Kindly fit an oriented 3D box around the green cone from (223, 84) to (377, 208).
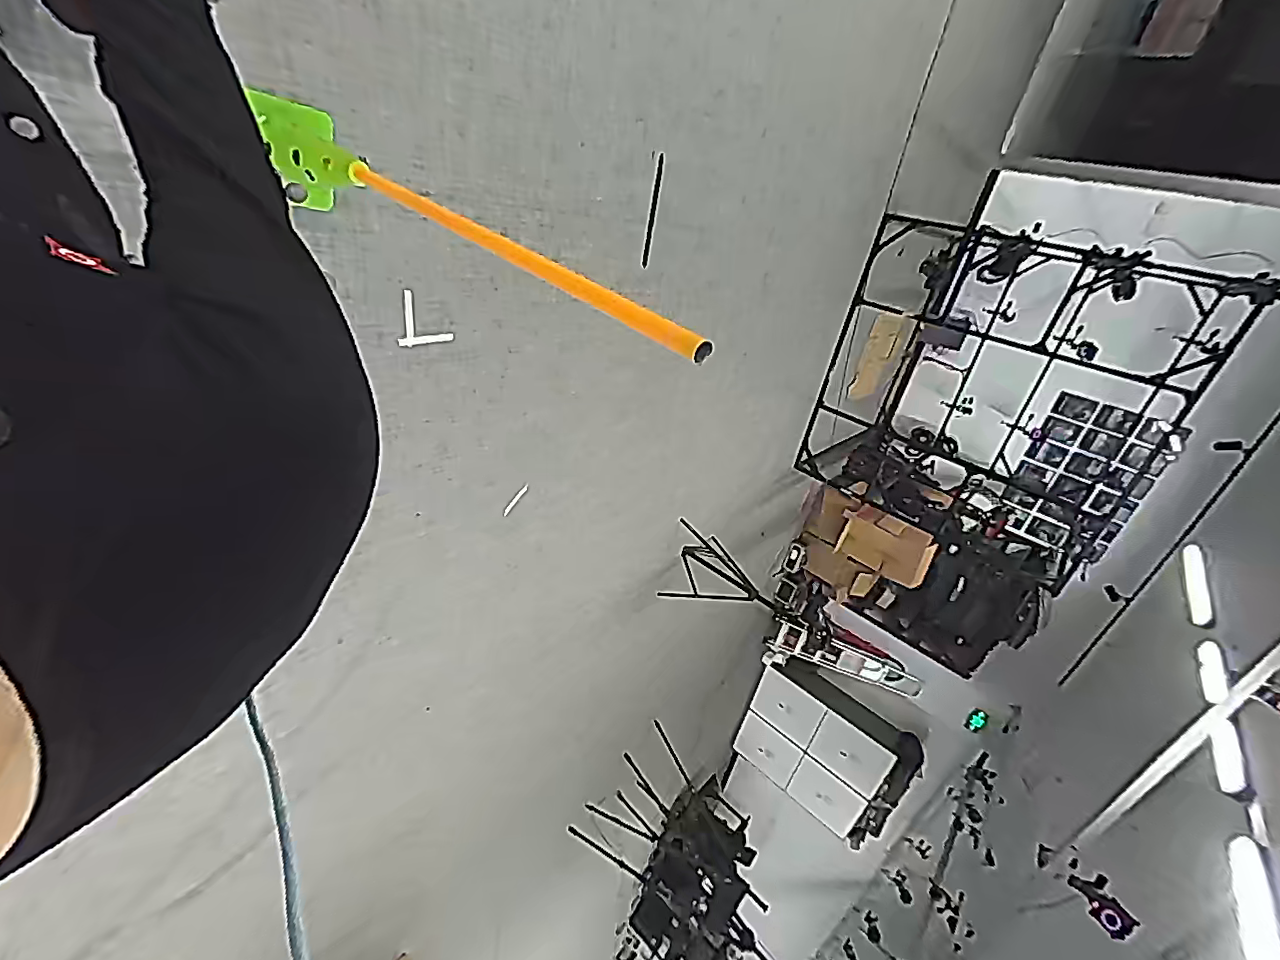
[{"bbox_3d":[-0.637,-0.631,1.072,0.202,0.368,0.200,-18,130,-49],"label":"green cone"}]
